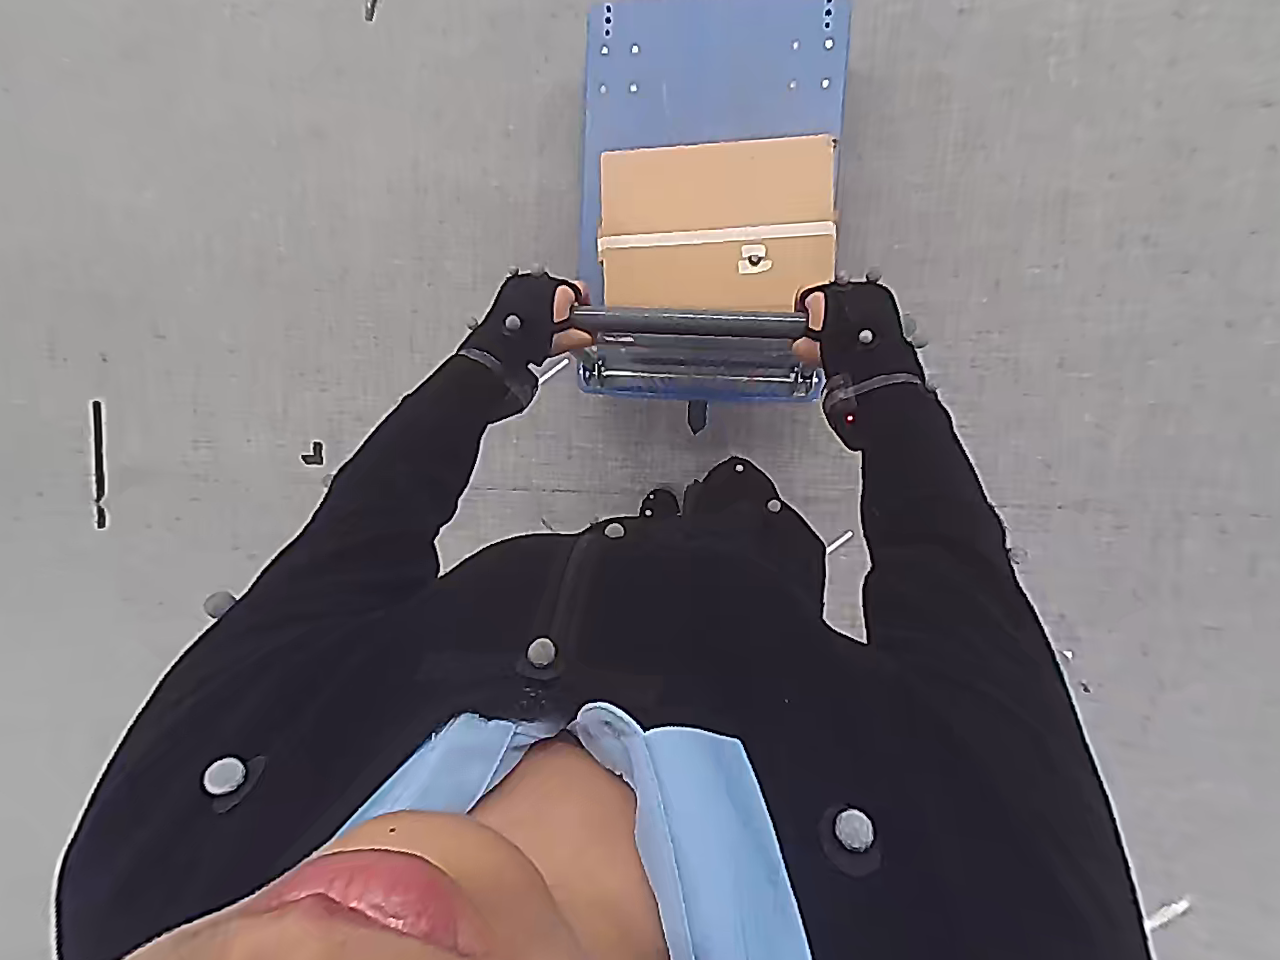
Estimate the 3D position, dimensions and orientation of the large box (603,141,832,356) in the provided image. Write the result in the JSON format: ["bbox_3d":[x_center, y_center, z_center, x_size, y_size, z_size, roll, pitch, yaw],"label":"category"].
[{"bbox_3d":[0.148,-0.438,1.107,0.408,0.320,0.320,-1,96,5],"label":"large box"}]
